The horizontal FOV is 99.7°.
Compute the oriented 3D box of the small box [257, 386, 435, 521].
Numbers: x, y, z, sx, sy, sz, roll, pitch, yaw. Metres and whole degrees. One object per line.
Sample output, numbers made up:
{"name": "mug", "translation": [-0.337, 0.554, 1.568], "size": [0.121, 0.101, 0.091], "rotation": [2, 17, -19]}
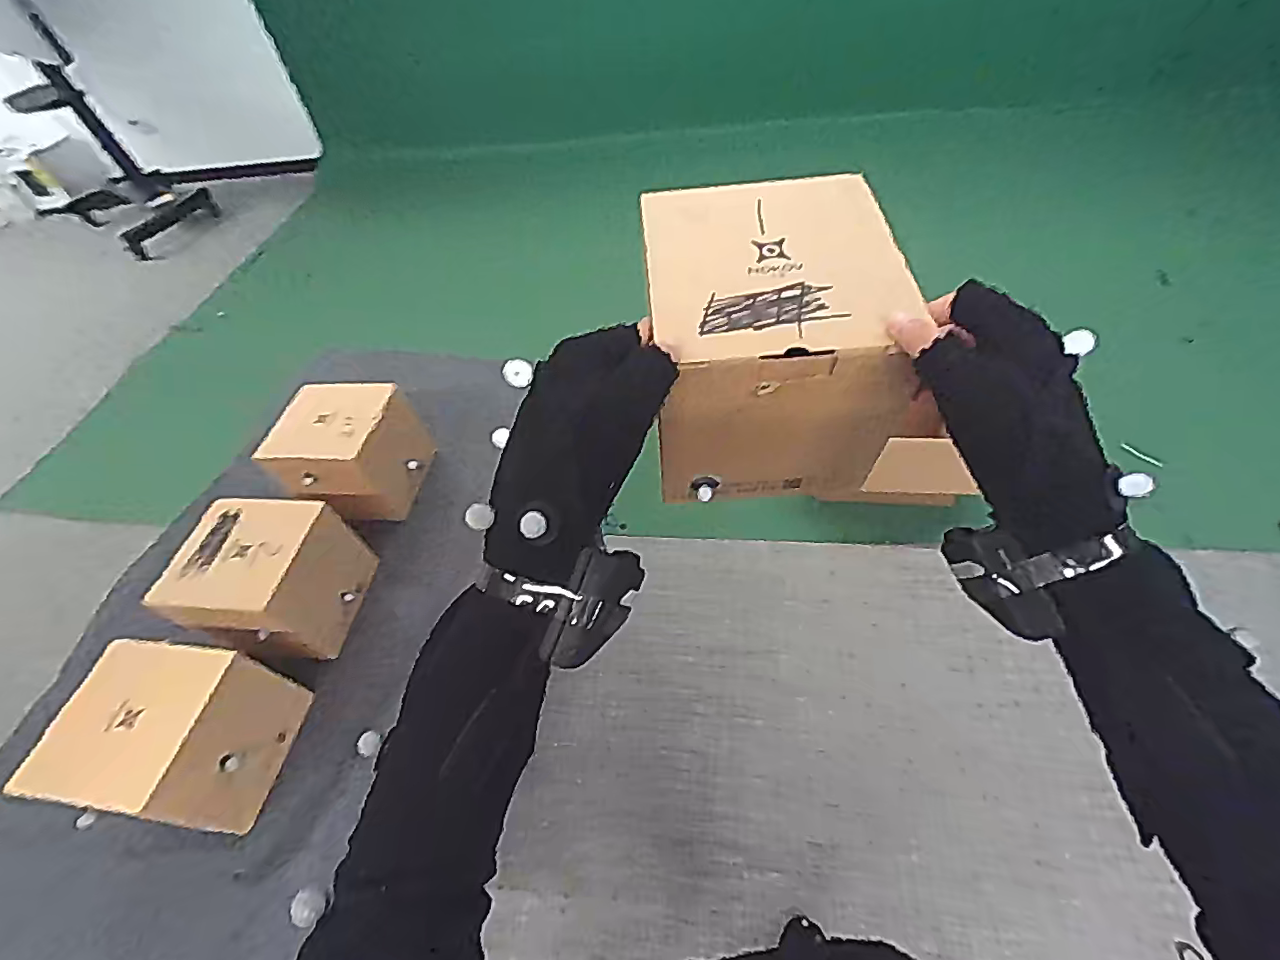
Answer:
{"name": "small box", "translation": [-0.488, -0.043, 0.927], "size": [0.179, 0.176, 0.168], "rotation": [1, 53, 9]}

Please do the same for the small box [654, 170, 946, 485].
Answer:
{"name": "small box", "translation": [0.100, -0.106, 0.424], "size": [0.168, 0.176, 0.179], "rotation": [-4, 58, 2]}
